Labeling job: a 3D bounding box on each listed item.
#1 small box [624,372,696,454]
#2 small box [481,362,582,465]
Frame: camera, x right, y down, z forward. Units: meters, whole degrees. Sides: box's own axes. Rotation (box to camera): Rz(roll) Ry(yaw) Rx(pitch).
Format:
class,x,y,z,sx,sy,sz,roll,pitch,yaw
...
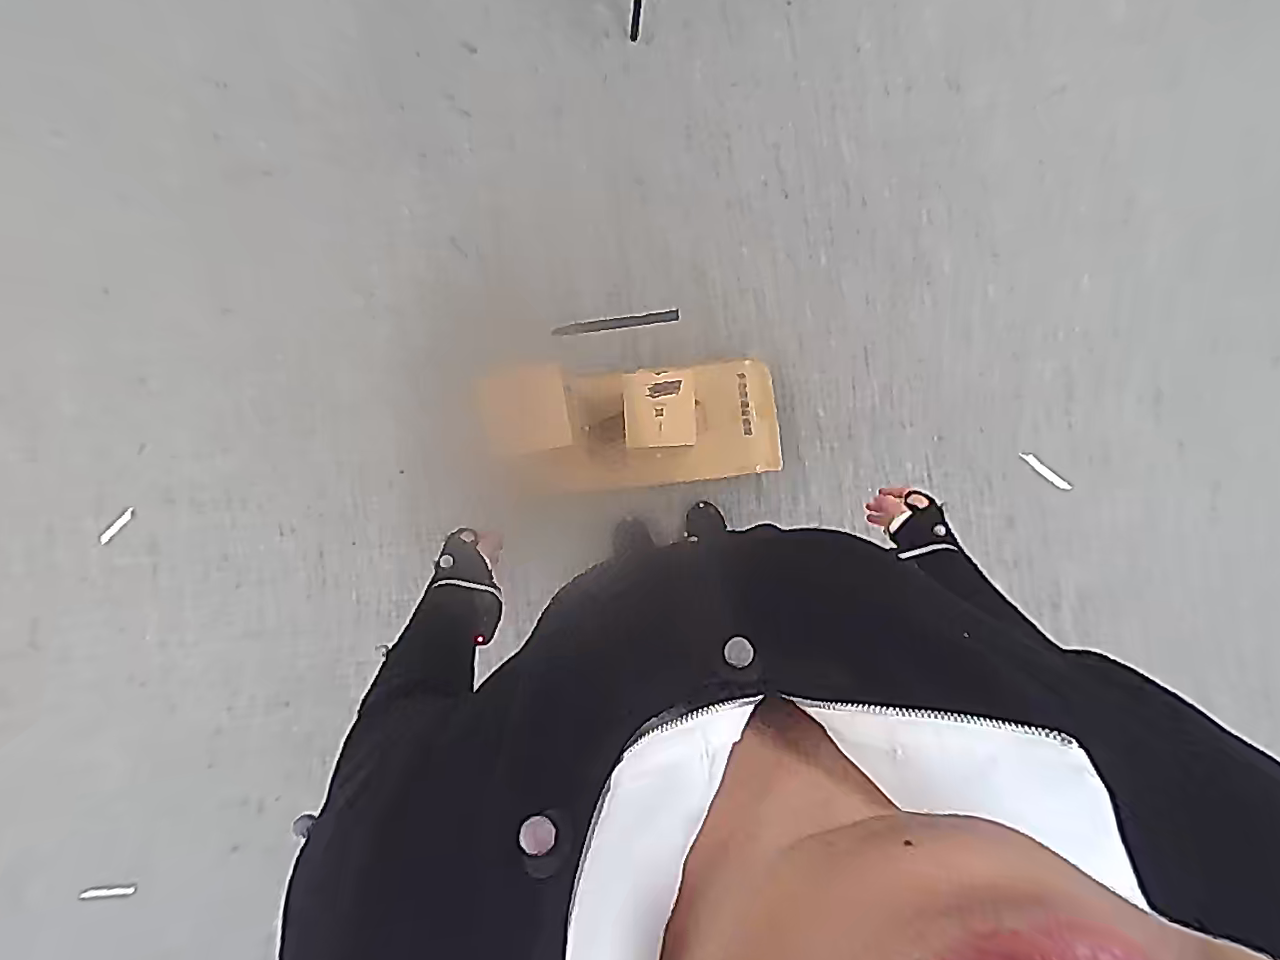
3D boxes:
class,x,y,z,sx,sy,sz,roll,pitch,yaw
small box,0.046,-0.160,1.331,0.168,0.176,0.179,-2,88,2
small box,-0.227,-0.136,1.169,0.168,0.176,0.179,-12,88,1
